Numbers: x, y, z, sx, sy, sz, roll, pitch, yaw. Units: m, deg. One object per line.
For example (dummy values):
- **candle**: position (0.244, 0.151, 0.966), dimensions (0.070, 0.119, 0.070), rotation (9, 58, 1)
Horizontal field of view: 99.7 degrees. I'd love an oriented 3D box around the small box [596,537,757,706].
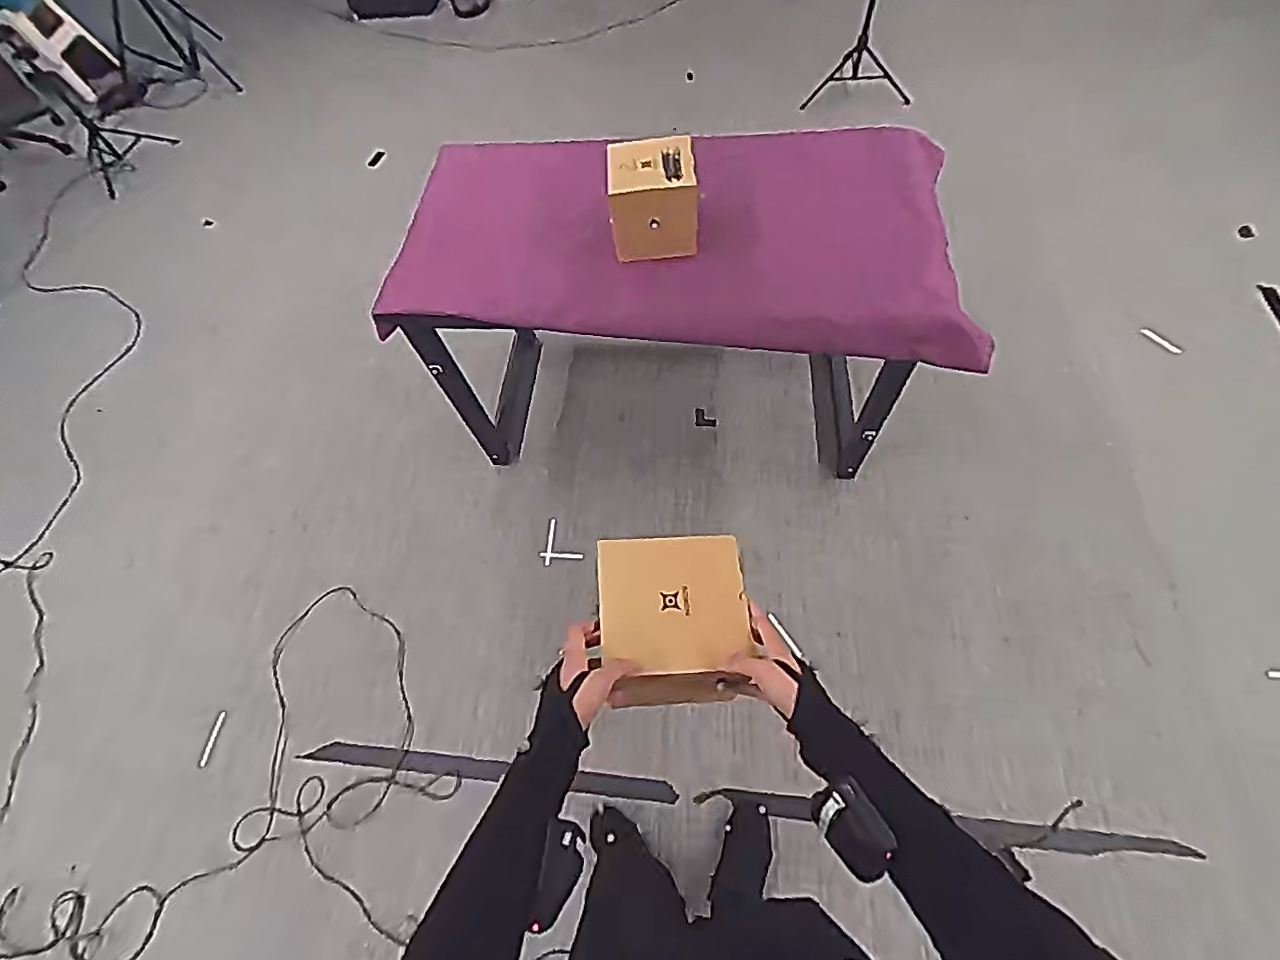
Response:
- **small box**: position (0.034, 0.185, 0.693), dimensions (0.179, 0.176, 0.168), rotation (-1, 57, -6)
